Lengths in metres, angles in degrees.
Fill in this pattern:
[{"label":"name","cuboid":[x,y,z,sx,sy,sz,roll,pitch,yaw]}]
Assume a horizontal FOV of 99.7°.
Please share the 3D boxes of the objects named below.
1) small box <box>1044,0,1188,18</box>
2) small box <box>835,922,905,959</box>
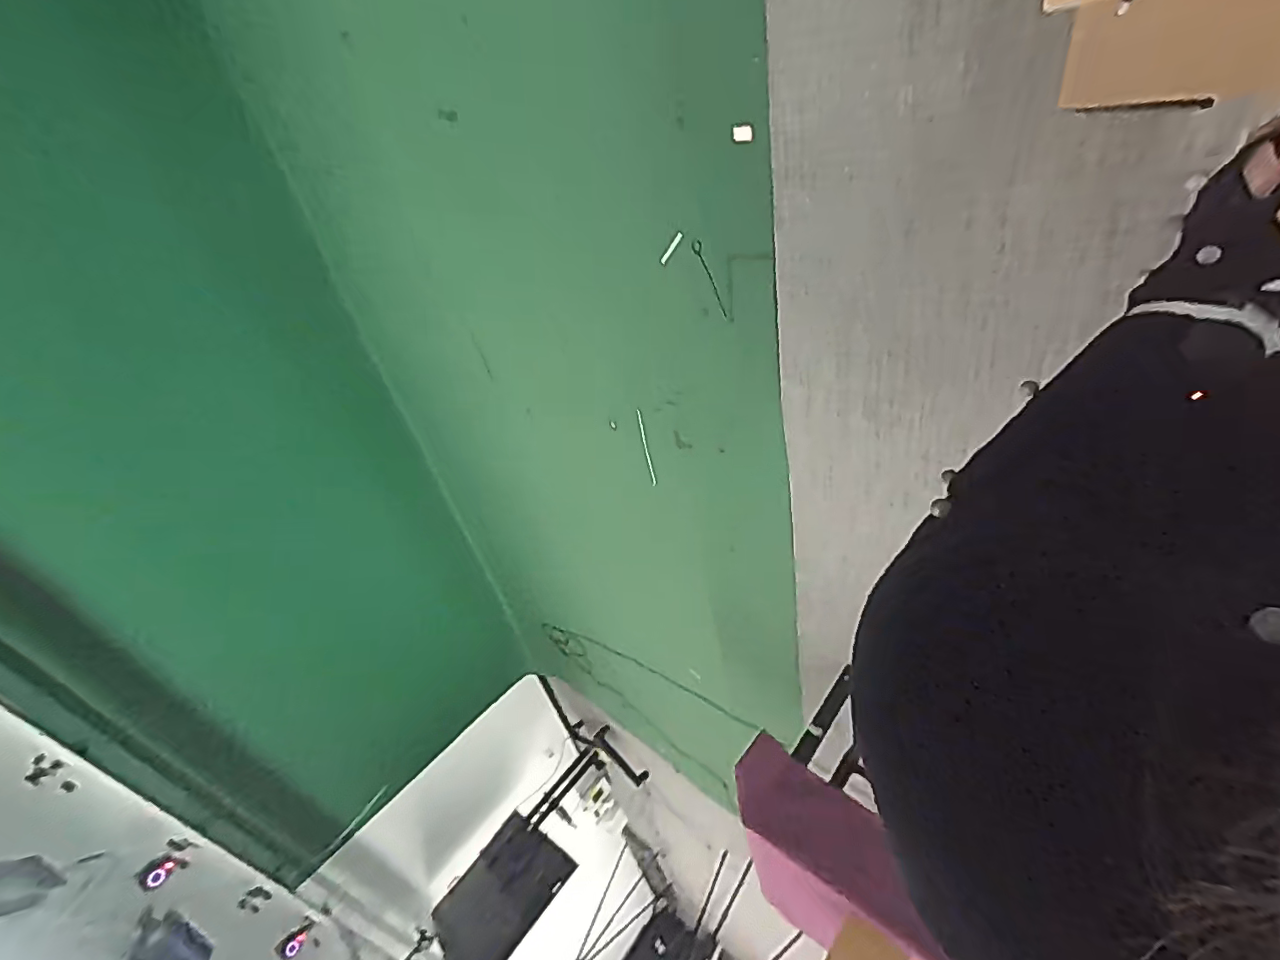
[{"label":"small box","cuboid":[0.507,-0.549,0.492,0.168,0.176,0.179,23,136,39]},{"label":"small box","cuboid":[0.620,1.350,1.450,0.179,0.176,0.168,18,135,40]}]
